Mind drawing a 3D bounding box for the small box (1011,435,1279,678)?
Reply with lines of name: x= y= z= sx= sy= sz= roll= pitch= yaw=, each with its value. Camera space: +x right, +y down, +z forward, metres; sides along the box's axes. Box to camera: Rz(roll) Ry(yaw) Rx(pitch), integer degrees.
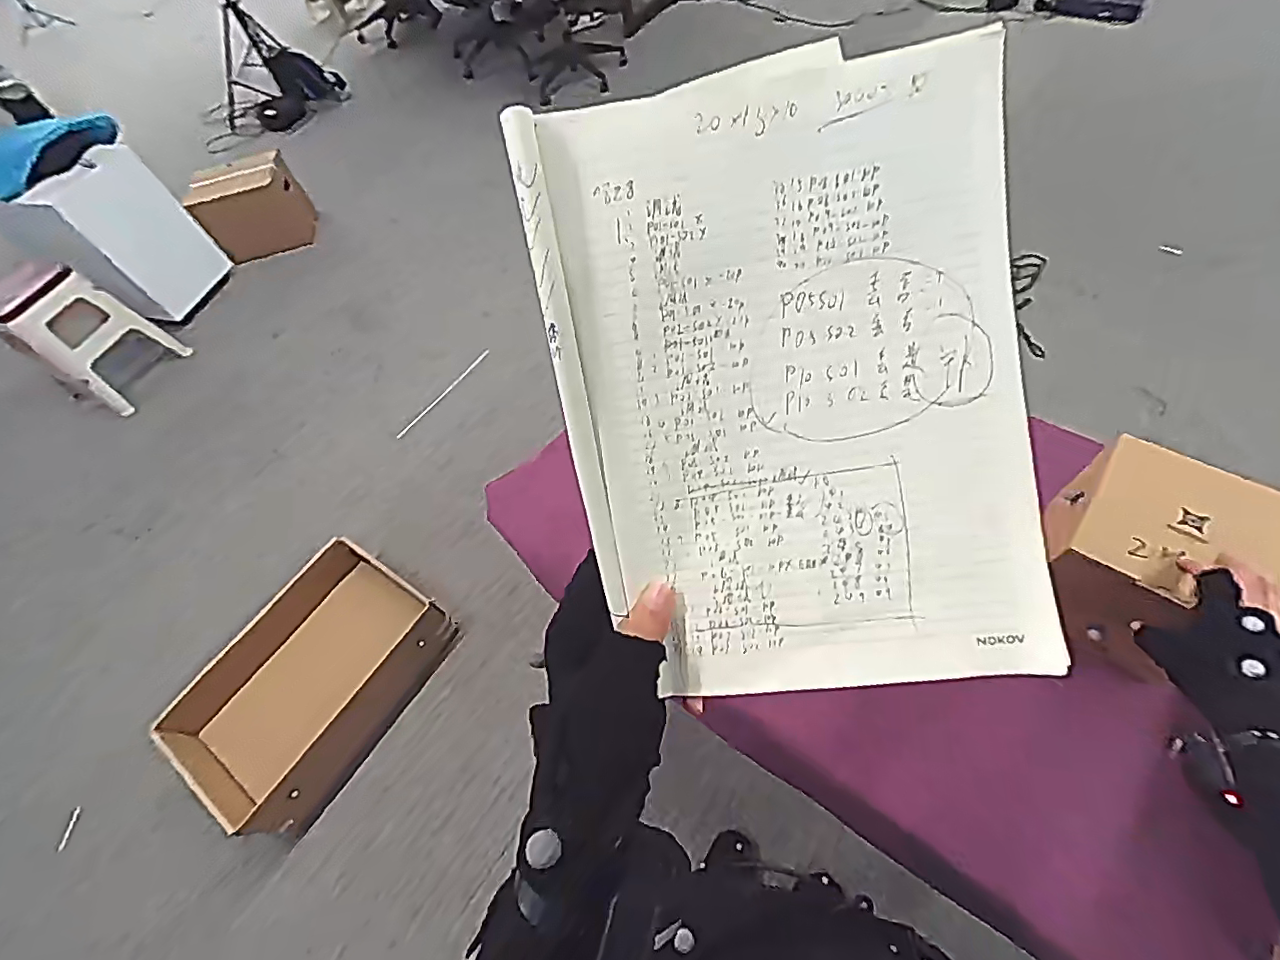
small box: x=0.558 y=0.089 z=0.603 sx=0.168 sy=0.176 sz=0.179 roll=32 pitch=69 yaw=25
